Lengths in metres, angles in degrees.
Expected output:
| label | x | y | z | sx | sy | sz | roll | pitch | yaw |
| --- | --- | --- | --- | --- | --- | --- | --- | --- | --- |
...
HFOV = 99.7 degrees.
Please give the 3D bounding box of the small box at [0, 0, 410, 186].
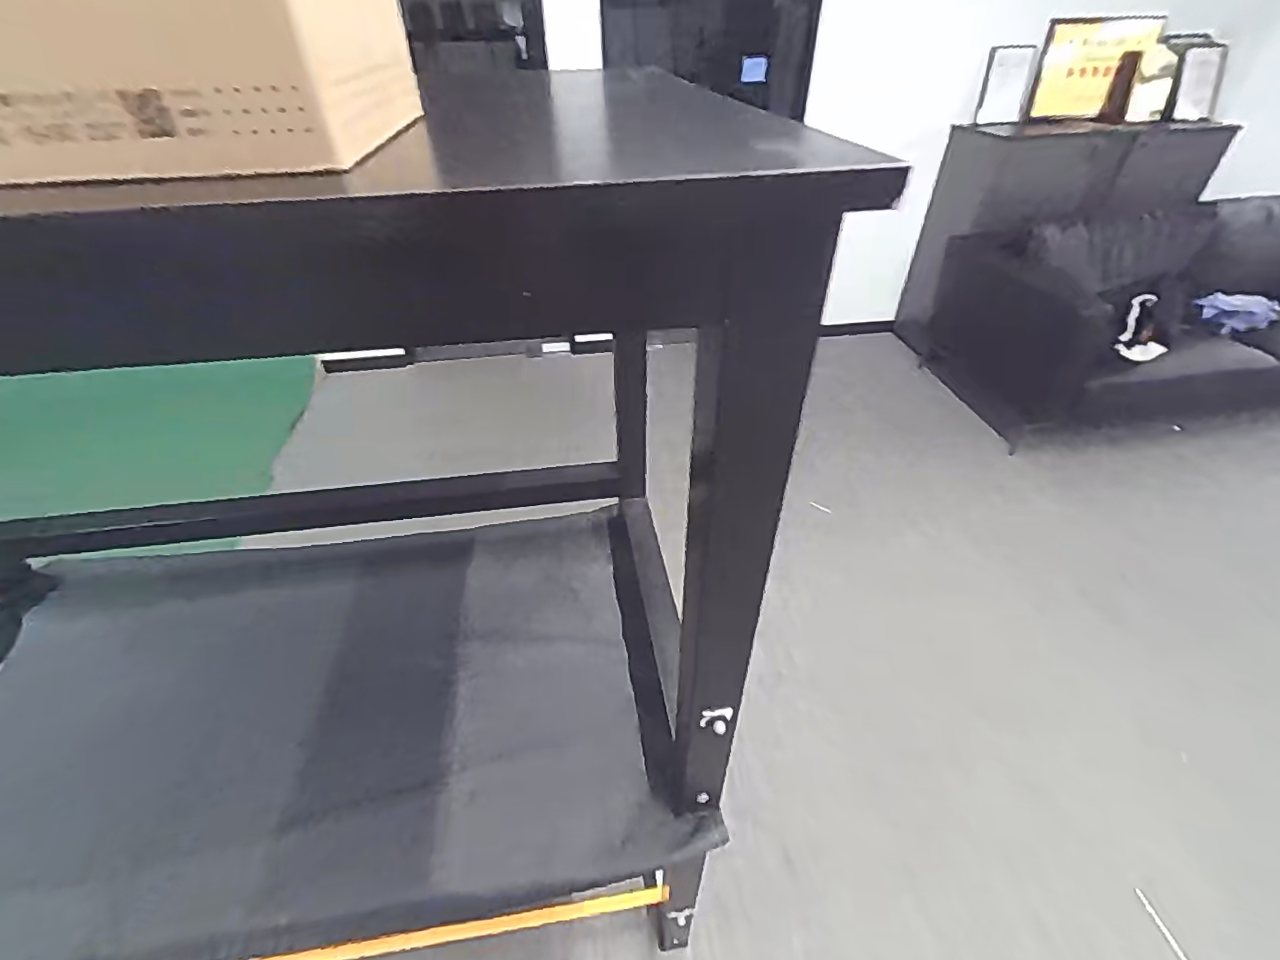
| label | x | y | z | sx | sy | sz | roll | pitch | yaw |
| --- | --- | --- | --- | --- | --- | --- | --- | --- | --- |
| small box | -0.212 | -0.229 | 0.223 | 0.168 | 0.176 | 0.179 | -5 | 40 | -5 |
